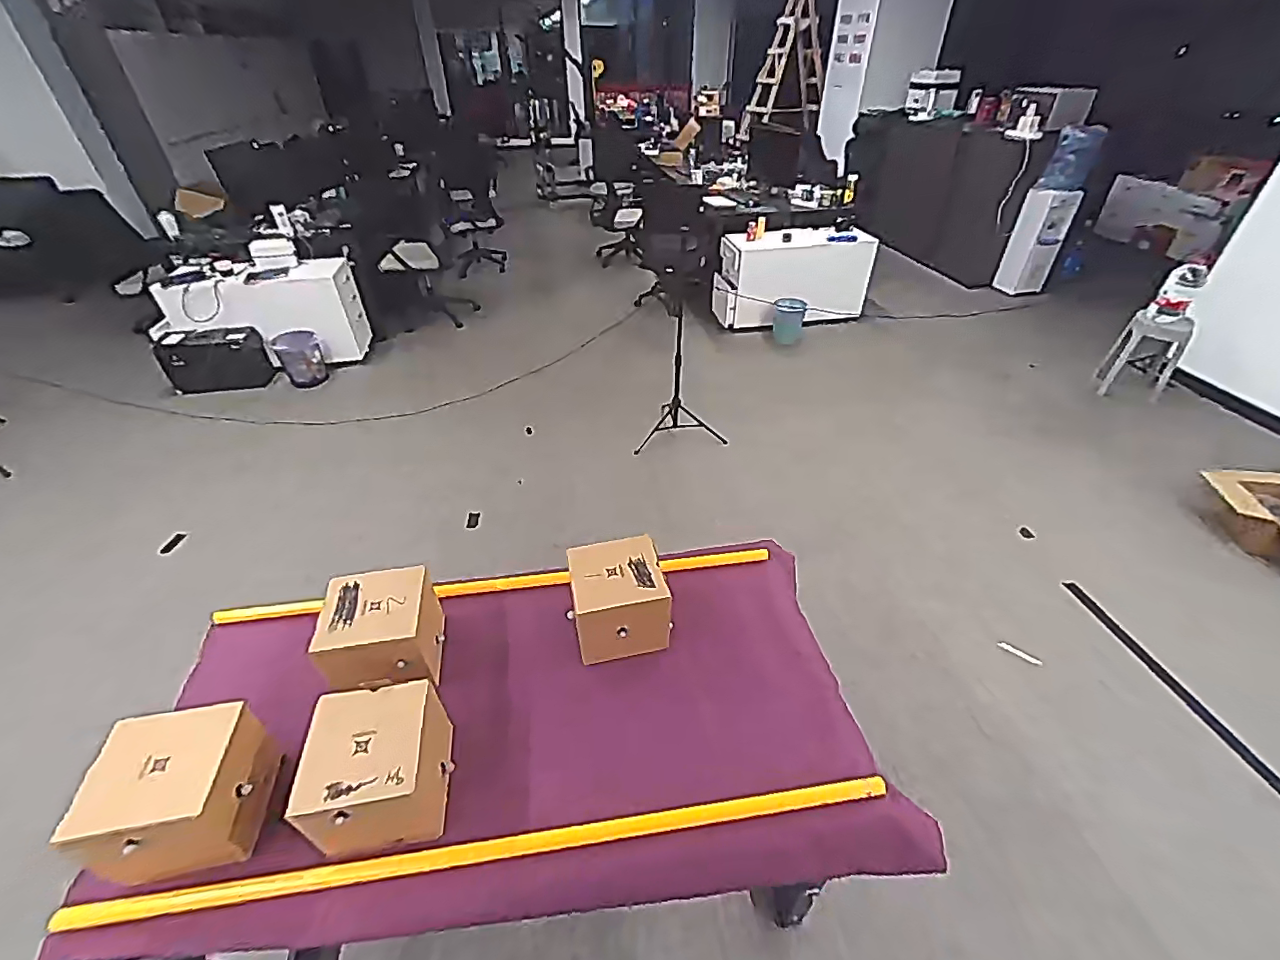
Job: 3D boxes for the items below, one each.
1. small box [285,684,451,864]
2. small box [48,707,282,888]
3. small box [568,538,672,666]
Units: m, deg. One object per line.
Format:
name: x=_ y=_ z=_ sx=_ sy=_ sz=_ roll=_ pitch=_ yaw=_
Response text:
small box: x=-0.394 y=0.444 z=0.824 sx=0.168 sy=0.176 sz=0.179 roll=-7 pitch=38 yaw=-7
small box: x=-0.672 y=0.467 z=0.799 sx=0.179 sy=0.176 sz=0.168 roll=-7 pitch=38 yaw=-9
small box: x=-0.042 y=0.242 z=1.071 sx=0.179 sy=0.176 sz=0.168 roll=-9 pitch=40 yaw=-9
